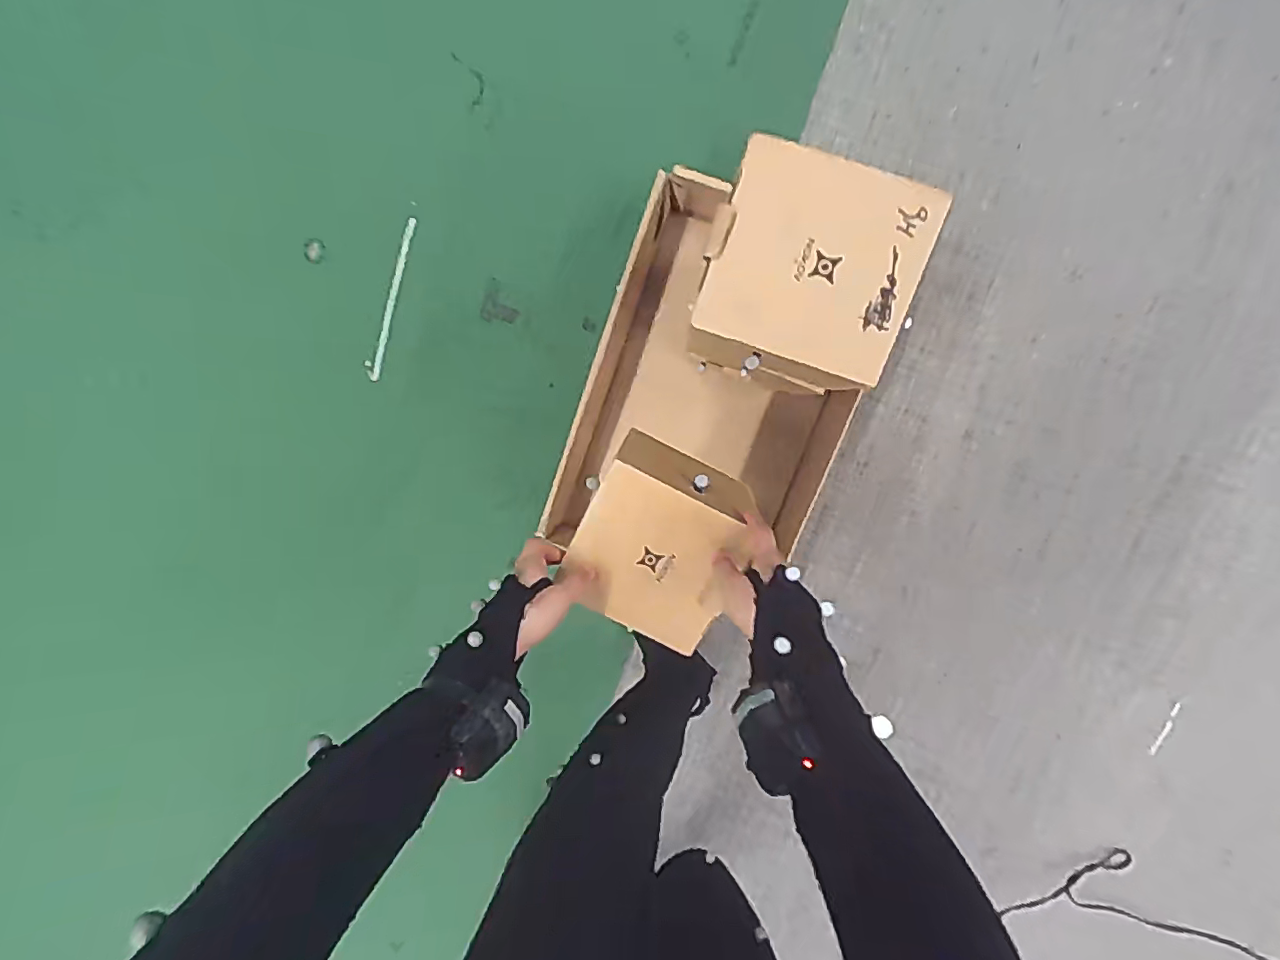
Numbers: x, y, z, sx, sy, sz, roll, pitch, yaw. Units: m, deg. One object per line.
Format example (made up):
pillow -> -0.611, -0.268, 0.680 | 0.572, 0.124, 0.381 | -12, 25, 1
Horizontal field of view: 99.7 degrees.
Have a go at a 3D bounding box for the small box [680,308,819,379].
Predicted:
small box -> 0.160, -0.233, 0.695 | 0.179, 0.176, 0.168 | 22, 100, 0

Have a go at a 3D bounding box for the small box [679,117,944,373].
small box -> 0.148, -0.208, 0.533 | 0.179, 0.176, 0.168 | 19, 100, 2

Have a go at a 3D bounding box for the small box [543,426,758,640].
small box -> 0.013, 0.049, 0.641 | 0.179, 0.176, 0.168 | 27, 106, -4
